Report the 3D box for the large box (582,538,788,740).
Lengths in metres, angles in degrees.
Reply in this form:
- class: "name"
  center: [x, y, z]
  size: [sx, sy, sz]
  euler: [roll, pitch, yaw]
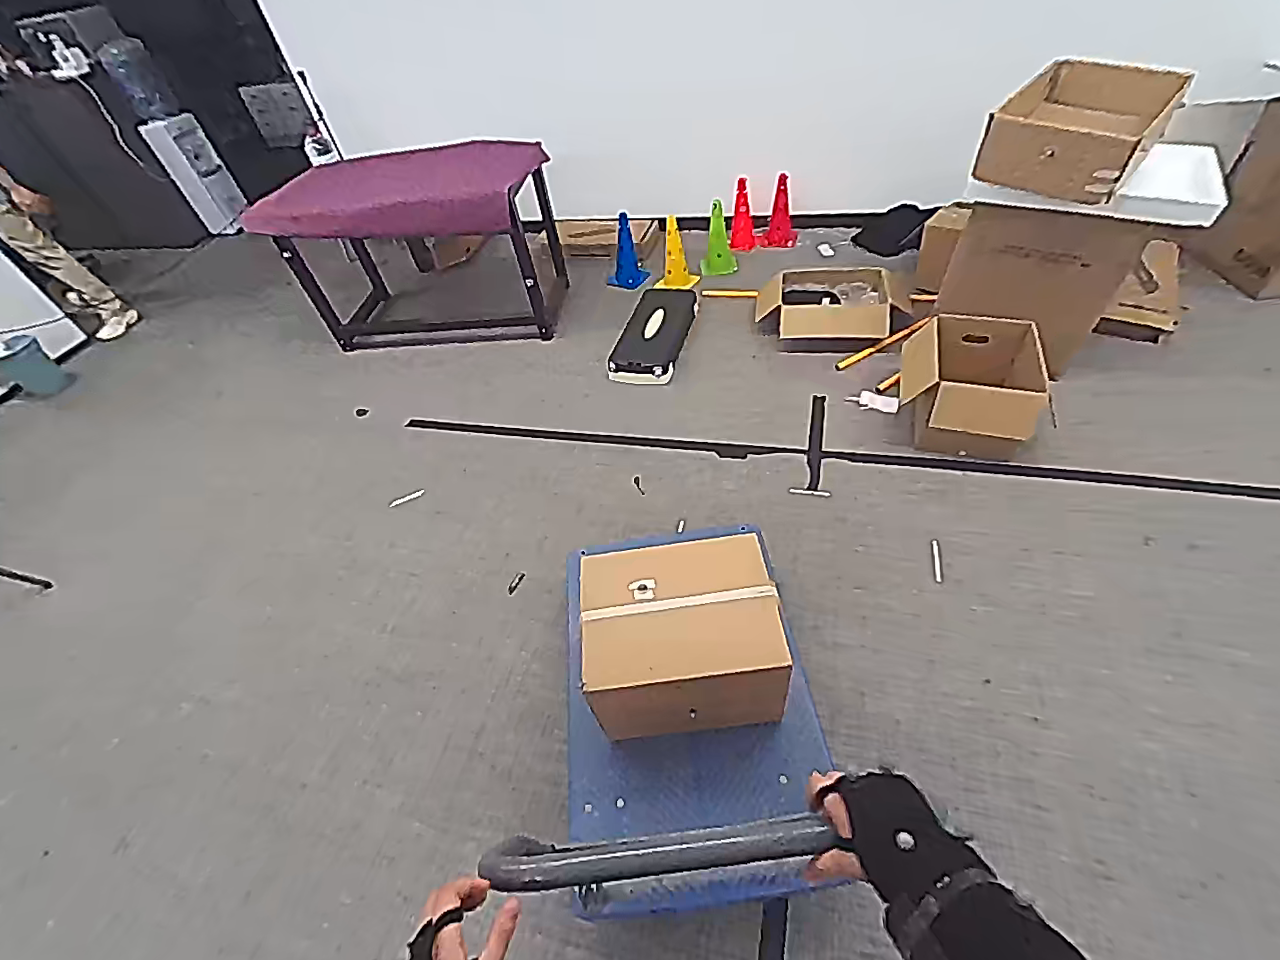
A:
- class: "large box"
  center: [0.098, 0.375, 1.252]
  size: [0.408, 0.320, 0.320]
  euler: [-9, 47, 3]
